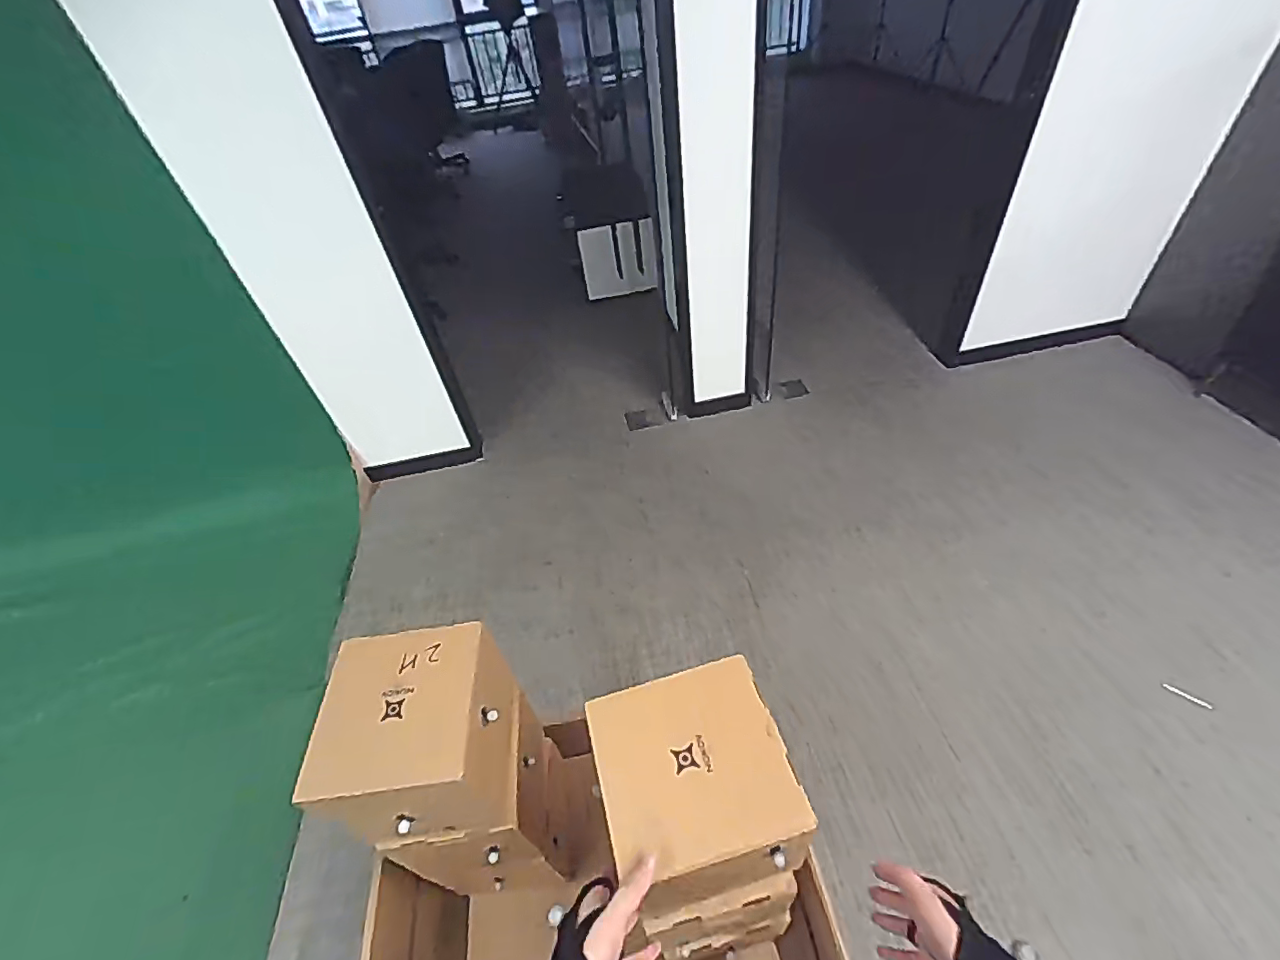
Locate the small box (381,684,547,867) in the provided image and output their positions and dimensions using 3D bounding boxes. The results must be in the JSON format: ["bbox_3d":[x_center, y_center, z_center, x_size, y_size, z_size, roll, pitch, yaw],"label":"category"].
[{"bbox_3d":[-0.225,0.411,0.745,0.168,0.176,0.179,-9,44,-2],"label":"small box"}]

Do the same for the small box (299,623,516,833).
[{"bbox_3d":[-0.248,0.294,0.632,0.168,0.176,0.179,-7,45,-1],"label":"small box"}]

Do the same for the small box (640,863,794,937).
[{"bbox_3d":[0.076,0.436,0.670,0.168,0.176,0.179,-13,45,-4],"label":"small box"}]

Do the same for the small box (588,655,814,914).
[{"bbox_3d":[0.057,0.317,0.562,0.179,0.176,0.168,-14,44,-7],"label":"small box"}]
